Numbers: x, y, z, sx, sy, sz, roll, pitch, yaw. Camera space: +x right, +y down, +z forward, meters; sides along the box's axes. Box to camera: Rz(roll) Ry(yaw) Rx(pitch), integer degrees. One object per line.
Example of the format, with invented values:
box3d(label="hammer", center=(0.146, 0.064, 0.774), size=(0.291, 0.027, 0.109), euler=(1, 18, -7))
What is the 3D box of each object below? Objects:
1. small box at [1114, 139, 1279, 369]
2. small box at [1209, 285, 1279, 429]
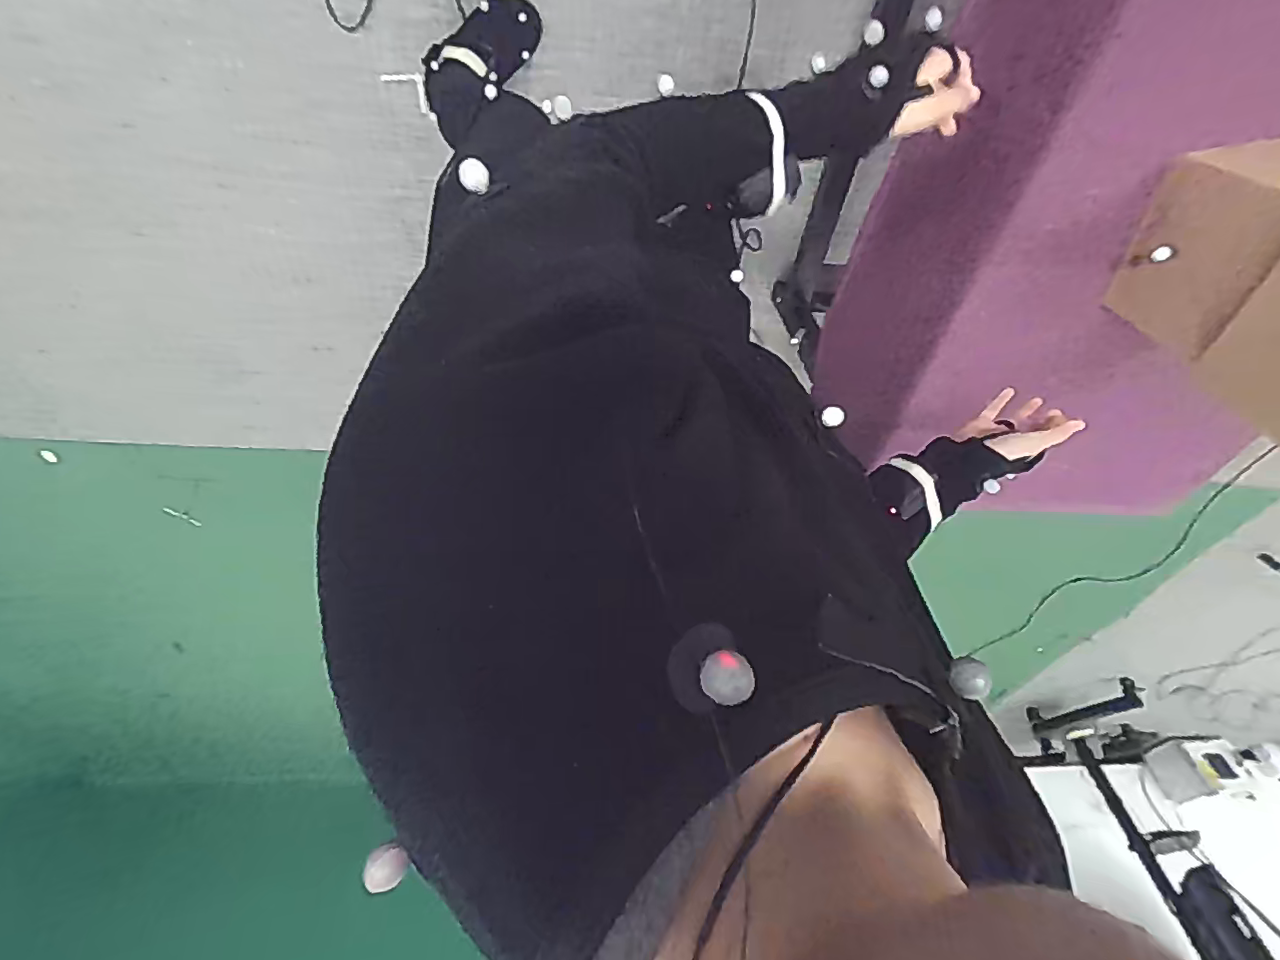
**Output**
box3d(label="small box", center=(0.650, -0.230, 0.541), size=(0.179, 0.176, 0.168), euler=(-7, 135, 3))
box3d(label="small box", center=(0.637, -0.112, 0.427), size=(0.168, 0.176, 0.179), euler=(-3, 135, 1))
